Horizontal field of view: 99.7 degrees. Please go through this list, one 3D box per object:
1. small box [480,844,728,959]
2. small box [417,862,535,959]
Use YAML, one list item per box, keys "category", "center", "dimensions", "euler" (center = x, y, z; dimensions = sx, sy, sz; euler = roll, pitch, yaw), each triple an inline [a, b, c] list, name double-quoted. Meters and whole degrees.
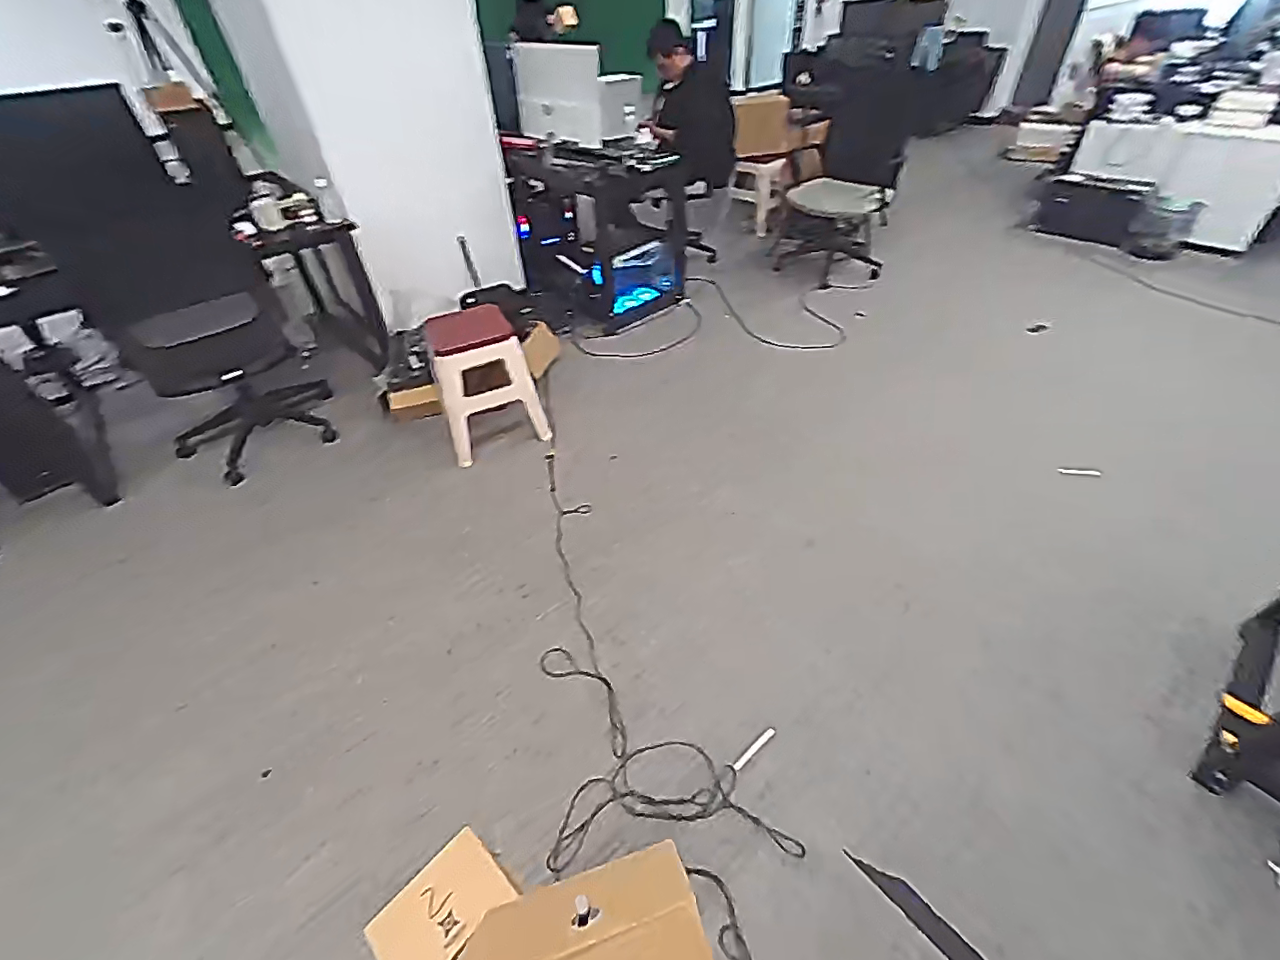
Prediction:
- category: "small box"
  center: [-0.018, 0.393, 0.385]
  dimensions: [0.179, 0.176, 0.168]
  euler: [-16, 69, -8]
- category: "small box"
  center: [-0.214, 0.765, 0.860]
  dimensions: [0.168, 0.176, 0.179]
  euler: [32, 55, 32]
